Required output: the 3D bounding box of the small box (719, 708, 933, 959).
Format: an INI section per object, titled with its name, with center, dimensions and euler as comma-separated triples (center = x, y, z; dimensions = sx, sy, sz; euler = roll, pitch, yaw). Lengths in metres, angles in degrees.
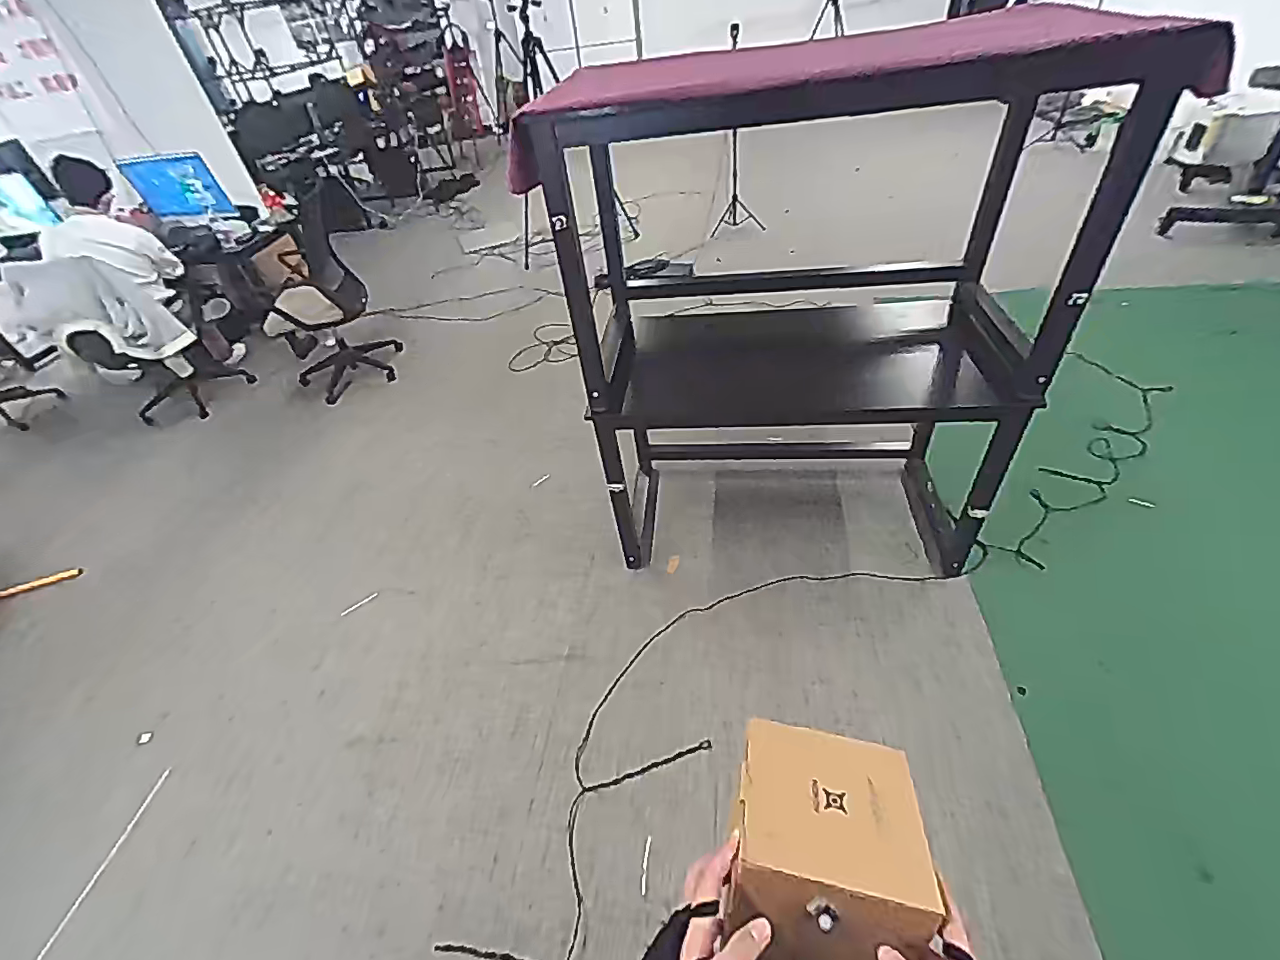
[small box]
center = 0.185, 0.385, 0.584
dimensions = 0.179, 0.176, 0.168
euler = 8, 26, 11
